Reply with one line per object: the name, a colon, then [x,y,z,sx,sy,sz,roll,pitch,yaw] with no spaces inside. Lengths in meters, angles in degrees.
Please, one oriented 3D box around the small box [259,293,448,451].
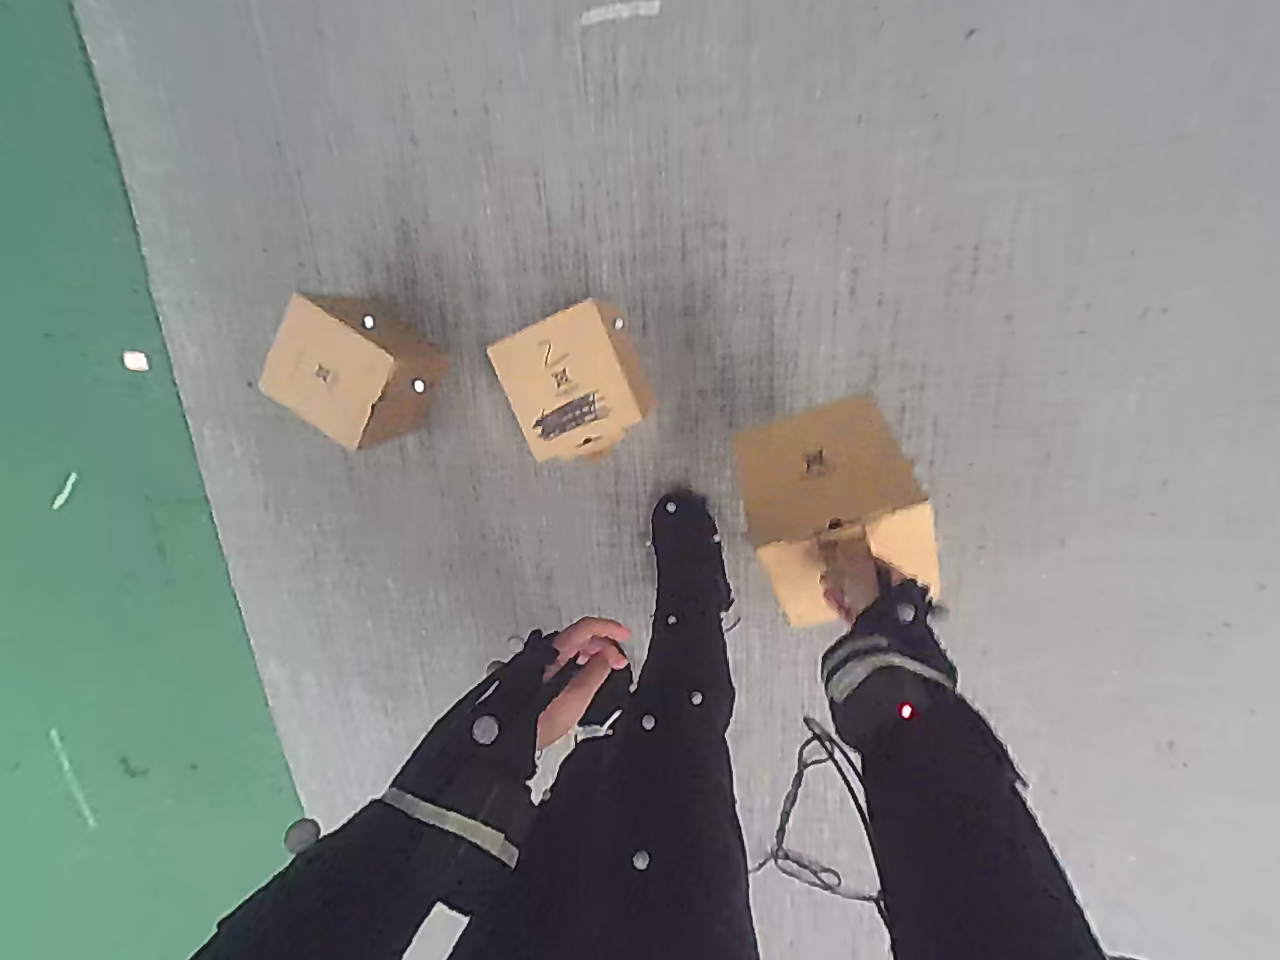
small box: [-0.439,-0.174,0.855,0.179,0.176,0.168,34,108,-1]
